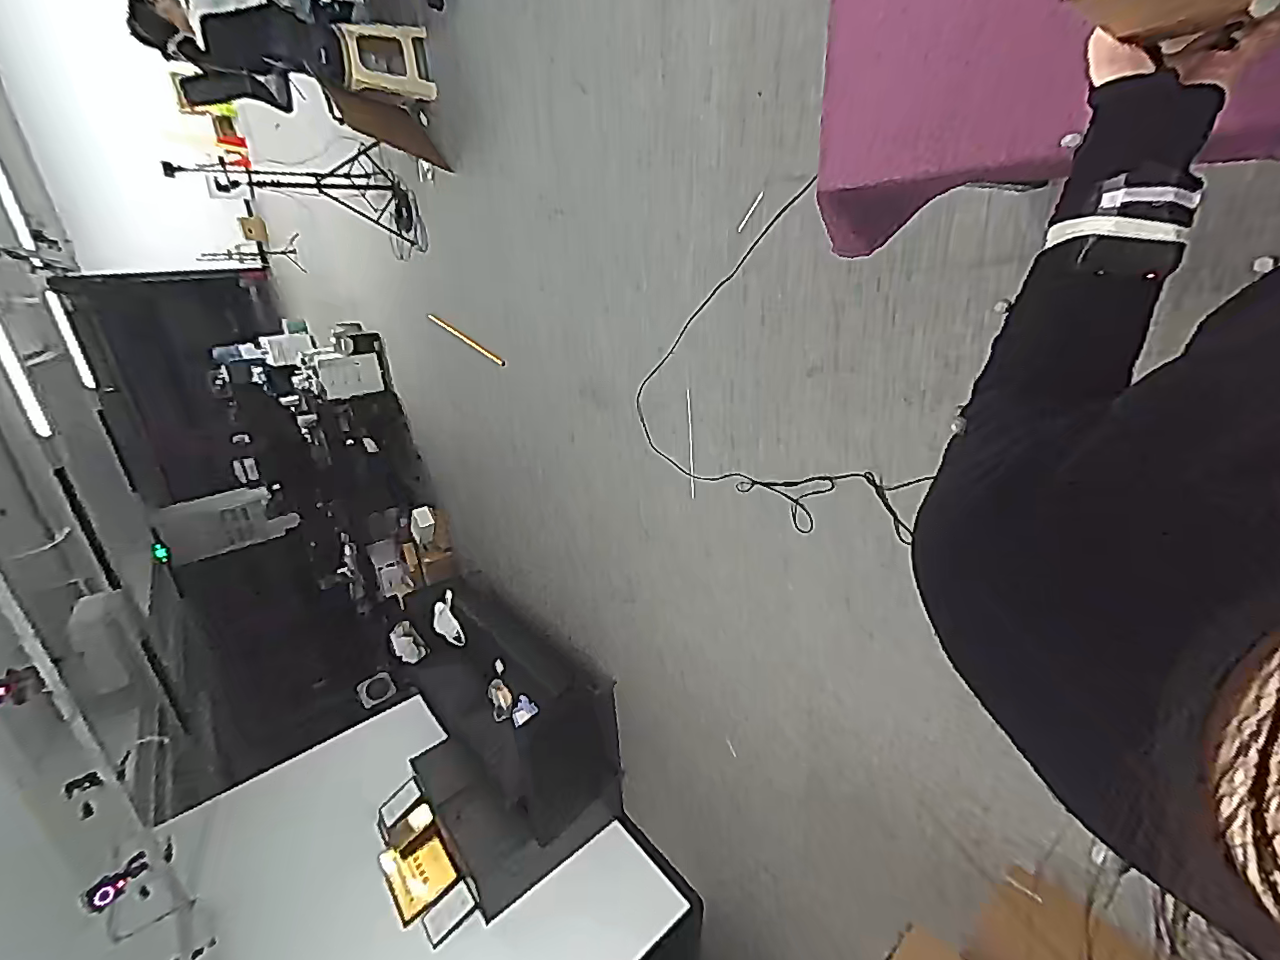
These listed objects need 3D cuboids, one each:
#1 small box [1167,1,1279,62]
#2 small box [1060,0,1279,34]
[{"bbox_3d":[0.492,-0.430,0.374,0.168,0.176,0.179,21,122,48],"label":"small box"},{"bbox_3d":[0.364,-0.373,0.287,0.168,0.176,0.179,20,122,47],"label":"small box"}]
